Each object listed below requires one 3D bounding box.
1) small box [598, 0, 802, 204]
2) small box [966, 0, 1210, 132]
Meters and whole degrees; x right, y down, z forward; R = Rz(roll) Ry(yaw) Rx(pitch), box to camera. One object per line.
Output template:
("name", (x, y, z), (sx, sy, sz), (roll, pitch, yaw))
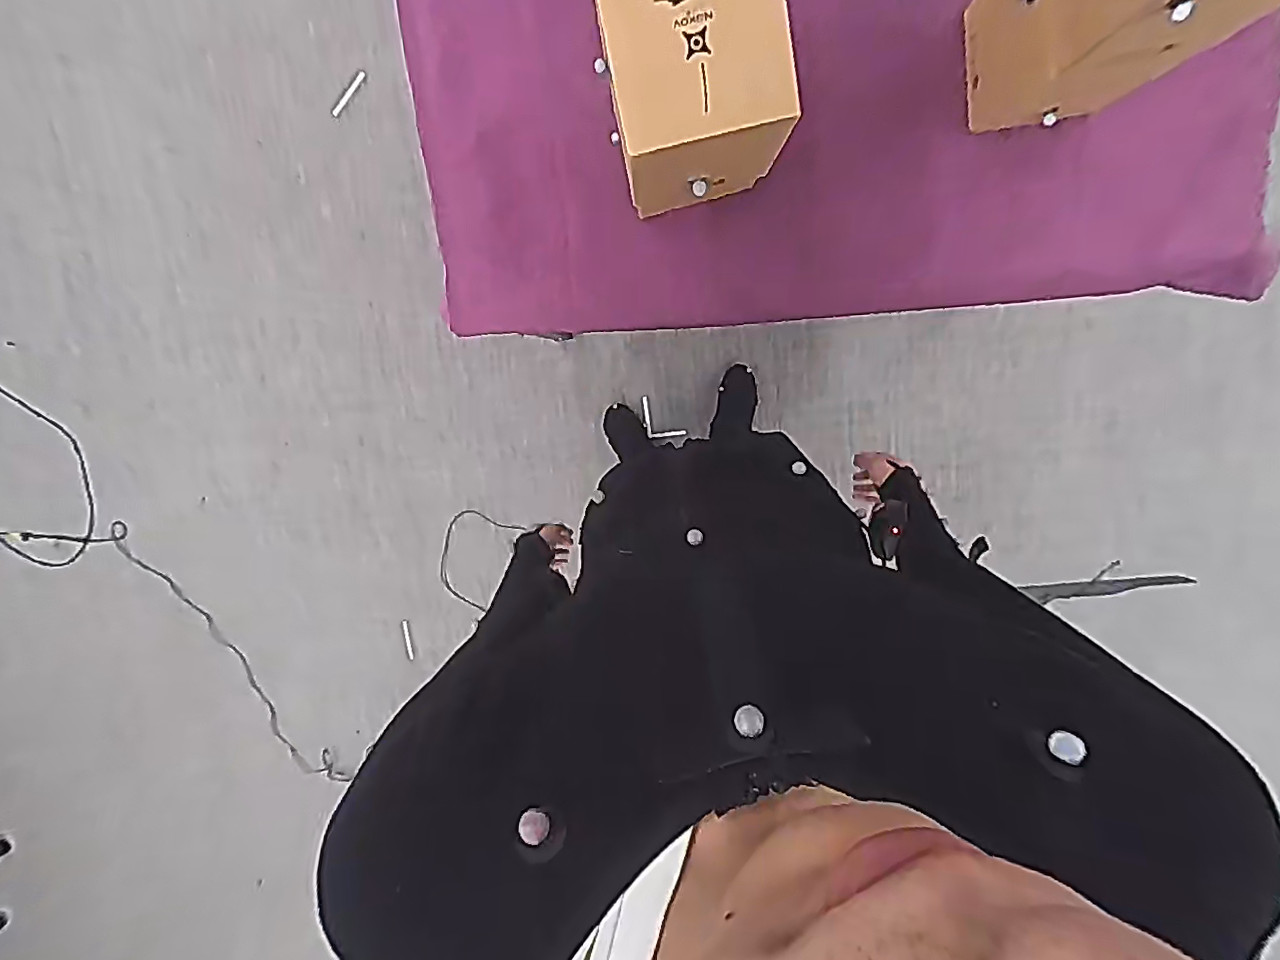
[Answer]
("small box", (0.053, -0.413, 0.555), (0.168, 0.176, 0.179), (-11, 102, 4))
("small box", (0.545, -0.570, 0.677), (0.179, 0.176, 0.168), (-9, 101, 3))
